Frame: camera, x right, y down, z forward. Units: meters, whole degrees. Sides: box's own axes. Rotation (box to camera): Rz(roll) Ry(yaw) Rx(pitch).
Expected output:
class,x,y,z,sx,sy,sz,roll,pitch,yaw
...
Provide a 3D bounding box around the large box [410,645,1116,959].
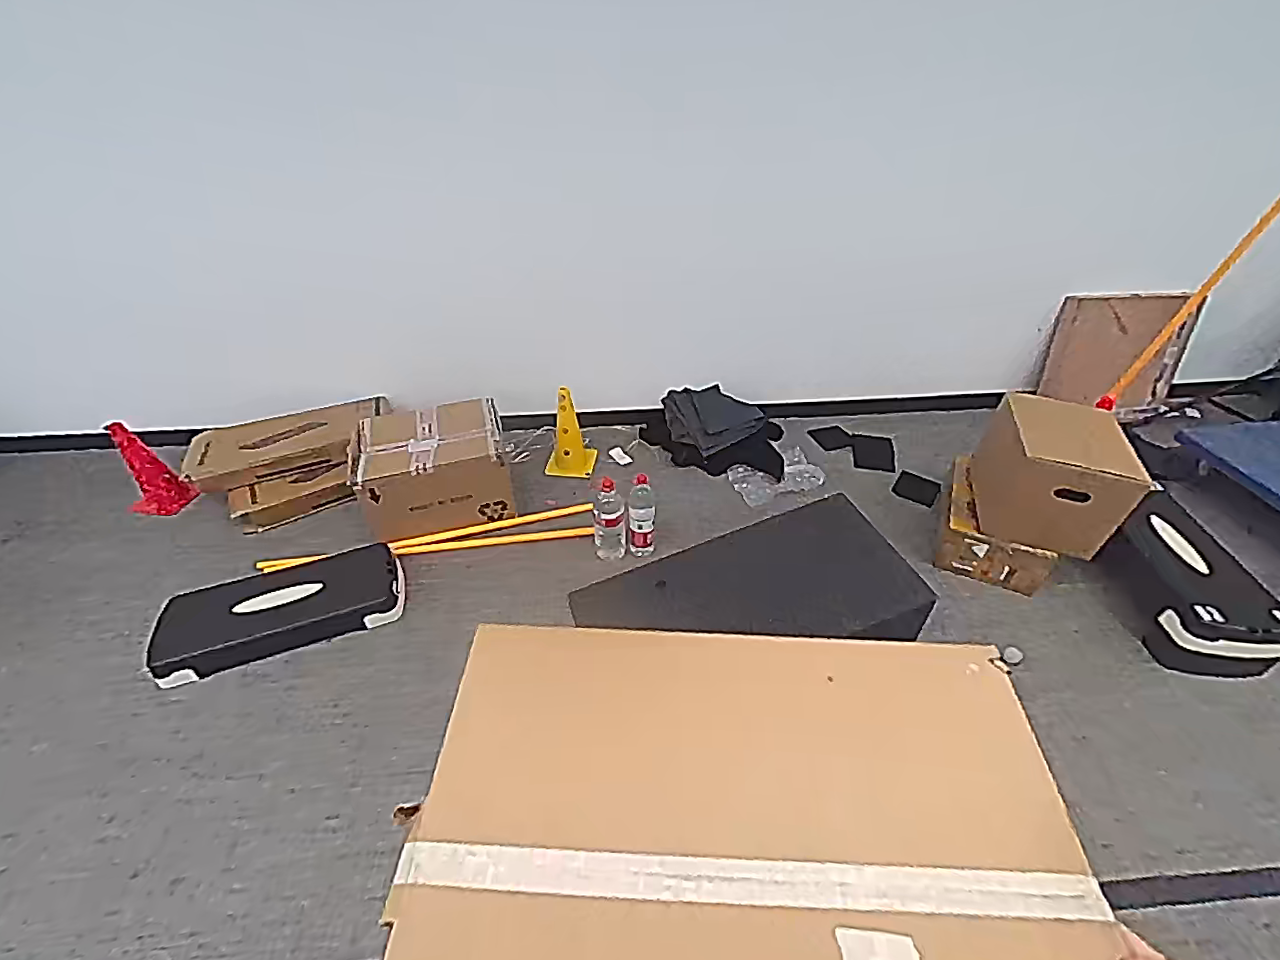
class,x,y,z,sx,sy,sz,roll,pitch,yaw
large box,0.067,0.351,0.430,0.408,0.320,0.320,2,47,1
